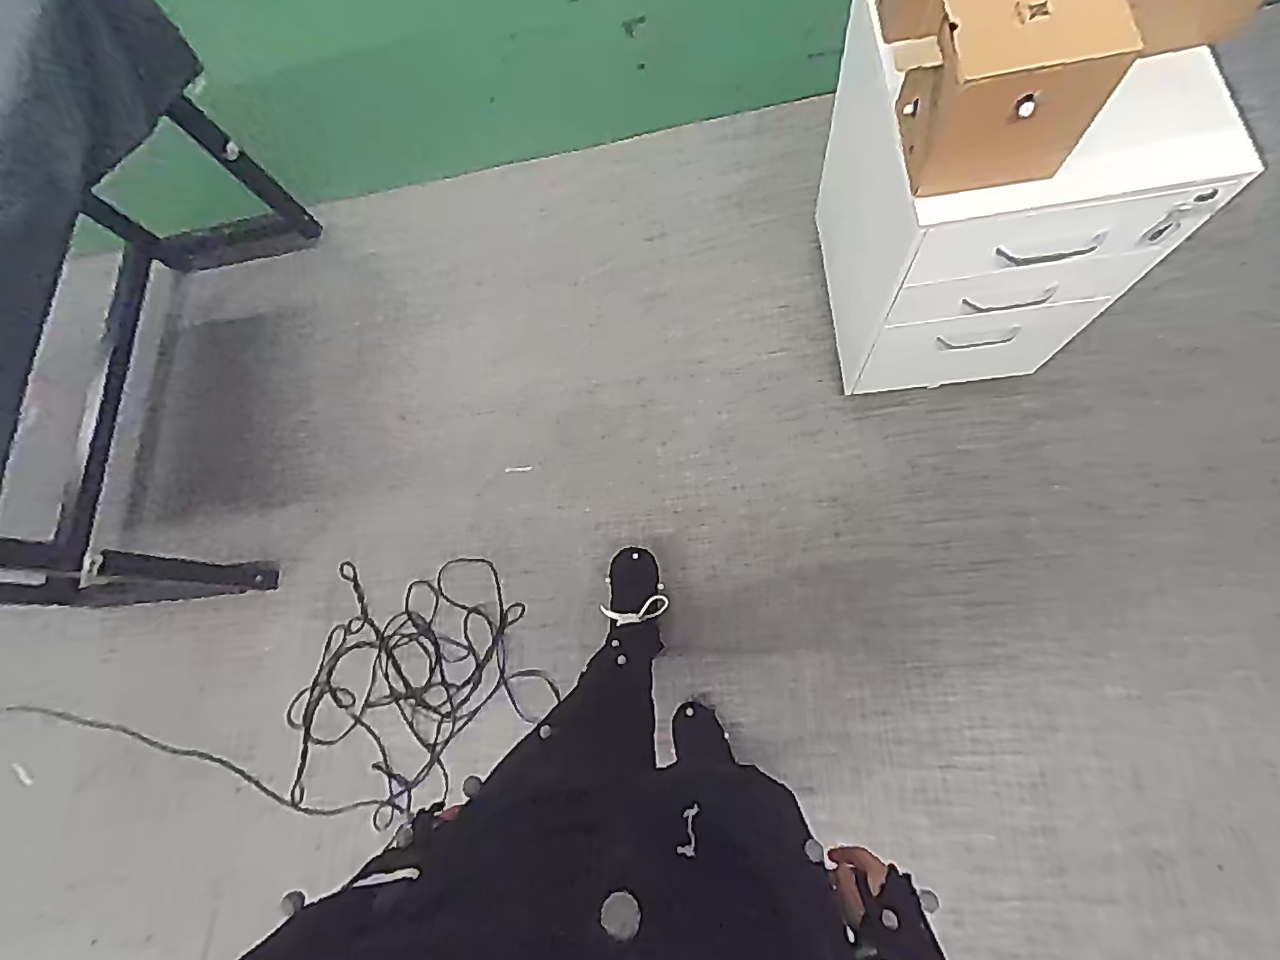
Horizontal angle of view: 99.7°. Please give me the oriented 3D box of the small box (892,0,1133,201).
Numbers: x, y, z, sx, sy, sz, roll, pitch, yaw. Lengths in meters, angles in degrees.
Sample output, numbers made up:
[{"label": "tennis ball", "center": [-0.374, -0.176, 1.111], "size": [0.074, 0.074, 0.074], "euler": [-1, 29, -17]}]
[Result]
[{"label": "small box", "center": [0.437, -0.481, 0.669], "size": [0.179, 0.176, 0.168], "euler": [-5, 73, 9]}]

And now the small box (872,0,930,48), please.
[{"label": "small box", "center": [0.427, -0.745, 0.748], "size": [0.179, 0.176, 0.168], "euler": [-4, 75, 8]}]
